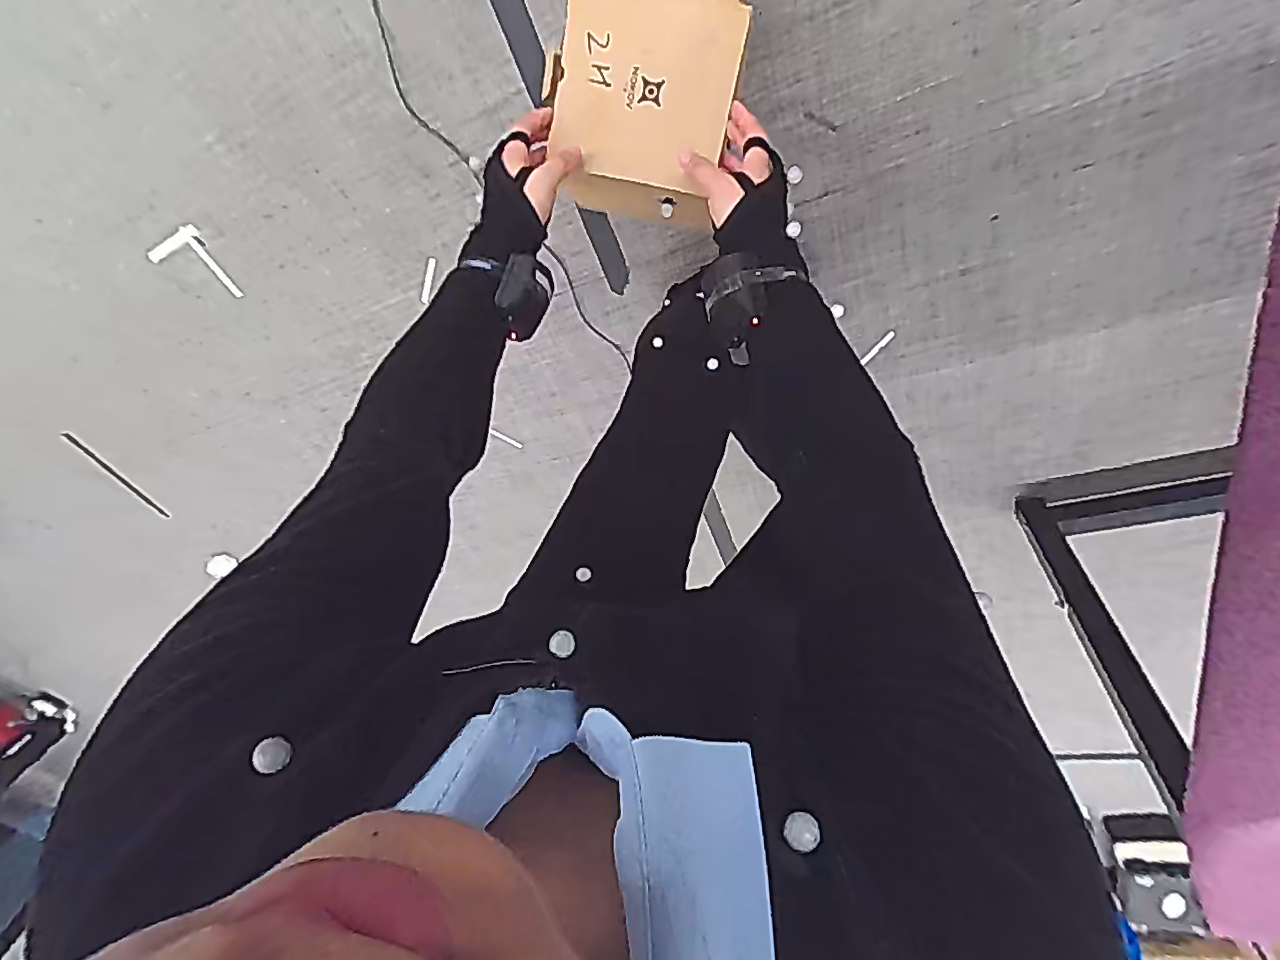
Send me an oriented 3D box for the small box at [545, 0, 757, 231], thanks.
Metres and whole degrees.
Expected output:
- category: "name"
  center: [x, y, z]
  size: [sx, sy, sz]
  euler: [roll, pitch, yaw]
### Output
- category: "small box"
  center: [0.015, -0.387, 0.590]
  size: [0.179, 0.176, 0.168]
  euler: [13, 102, 4]
